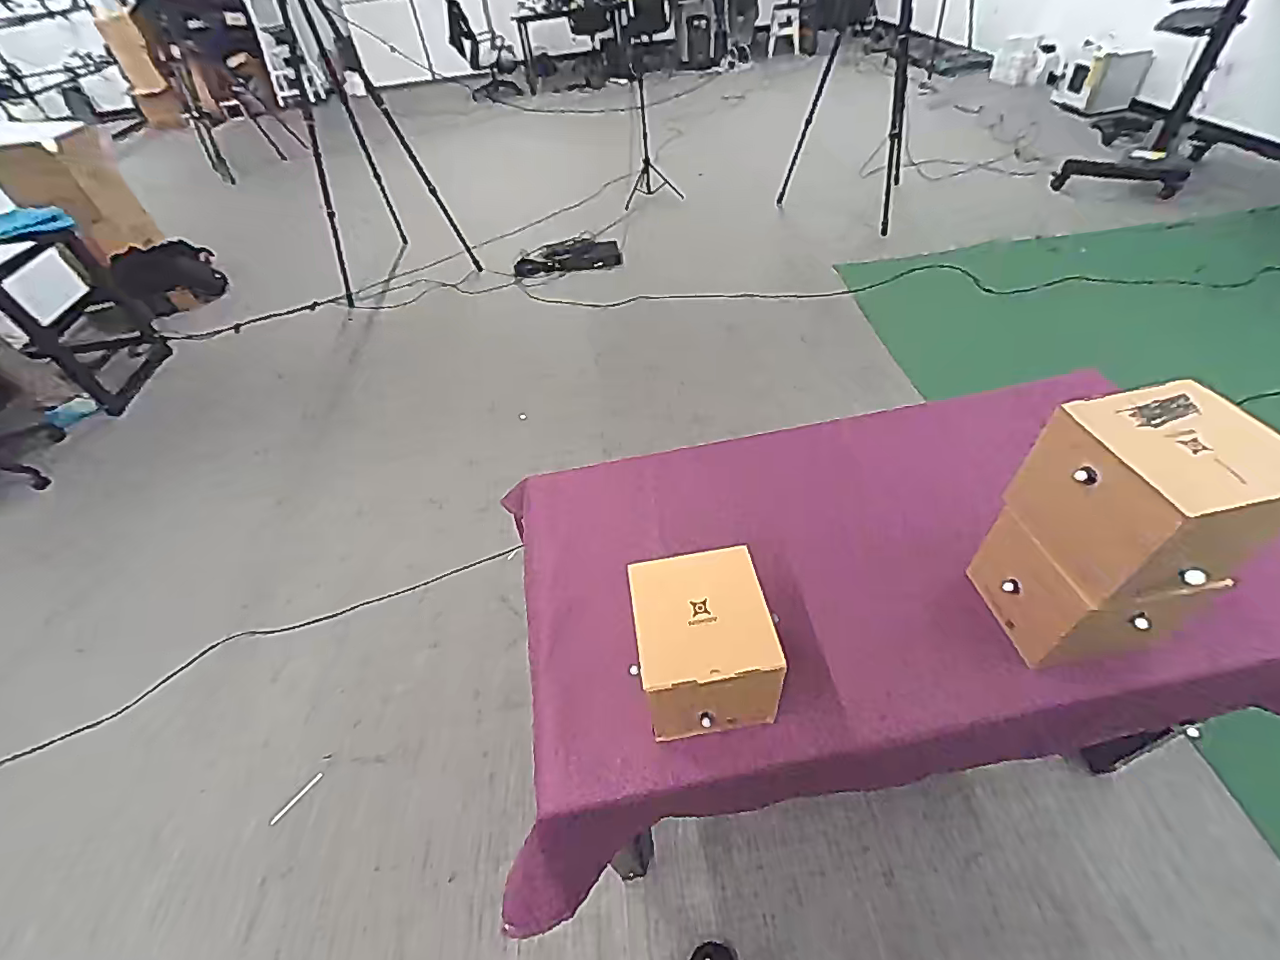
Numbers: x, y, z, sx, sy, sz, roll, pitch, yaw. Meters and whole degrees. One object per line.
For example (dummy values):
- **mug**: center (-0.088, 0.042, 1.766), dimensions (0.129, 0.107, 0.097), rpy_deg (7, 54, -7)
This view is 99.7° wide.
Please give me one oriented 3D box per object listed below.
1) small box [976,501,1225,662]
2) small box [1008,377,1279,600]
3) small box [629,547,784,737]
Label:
- **small box**: center (0.595, 0.129, 0.737), dimensions (0.179, 0.176, 0.168), rpy_deg (-10, 46, -1)
- **small box**: center (0.576, 0.010, 0.624), dimensions (0.168, 0.176, 0.179), rpy_deg (-12, 47, -2)
- **small box**: center (0.081, 0.218, 0.729), dimensions (0.168, 0.176, 0.179), rpy_deg (-10, 47, -1)
